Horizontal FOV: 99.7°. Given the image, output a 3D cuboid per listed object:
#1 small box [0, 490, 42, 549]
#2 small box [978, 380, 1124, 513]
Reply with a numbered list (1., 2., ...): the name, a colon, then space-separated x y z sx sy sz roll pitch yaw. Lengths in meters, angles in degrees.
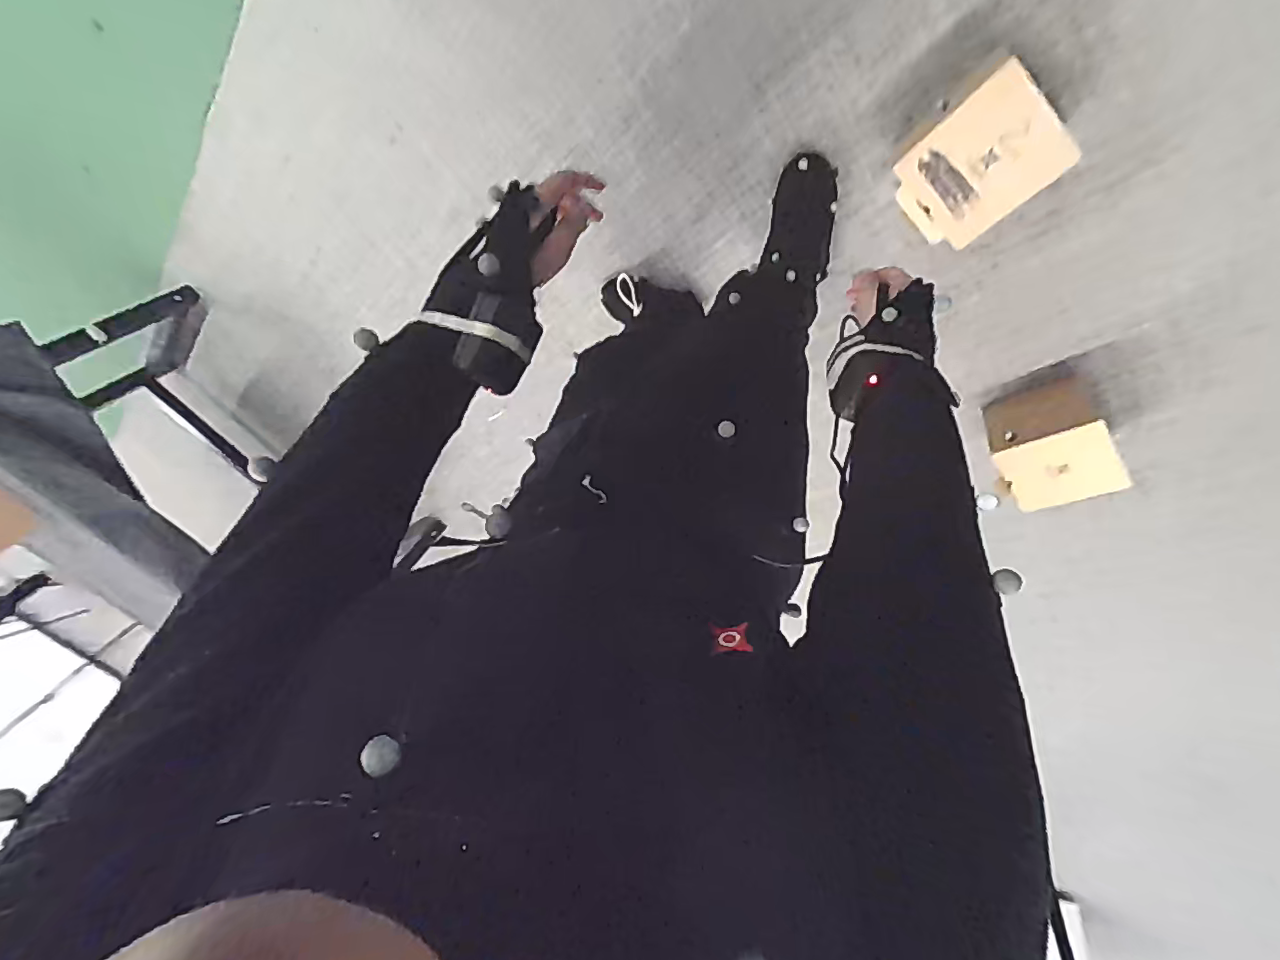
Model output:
1. small box: -1.750 0.108 1.410 0.168 0.176 0.179 -7 127 32
2. small box: 0.800 -0.068 1.067 0.179 0.176 0.168 -24 116 40
